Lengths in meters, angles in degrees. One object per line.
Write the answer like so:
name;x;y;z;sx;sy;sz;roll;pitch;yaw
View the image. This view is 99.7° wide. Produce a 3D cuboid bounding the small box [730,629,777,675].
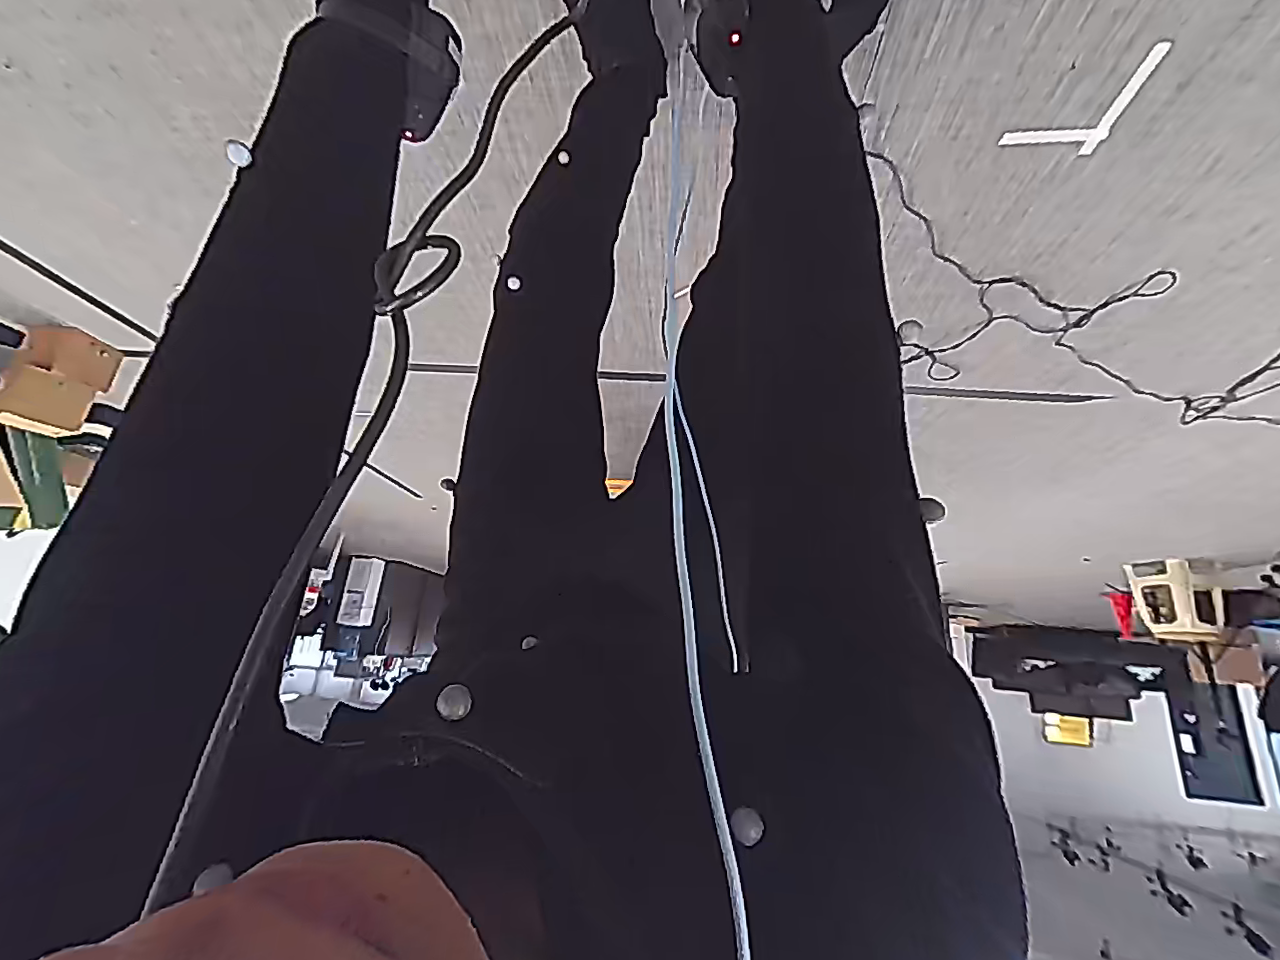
small box;0.472;0.717;2.255;0.168;0.176;0.179;5;162;3
